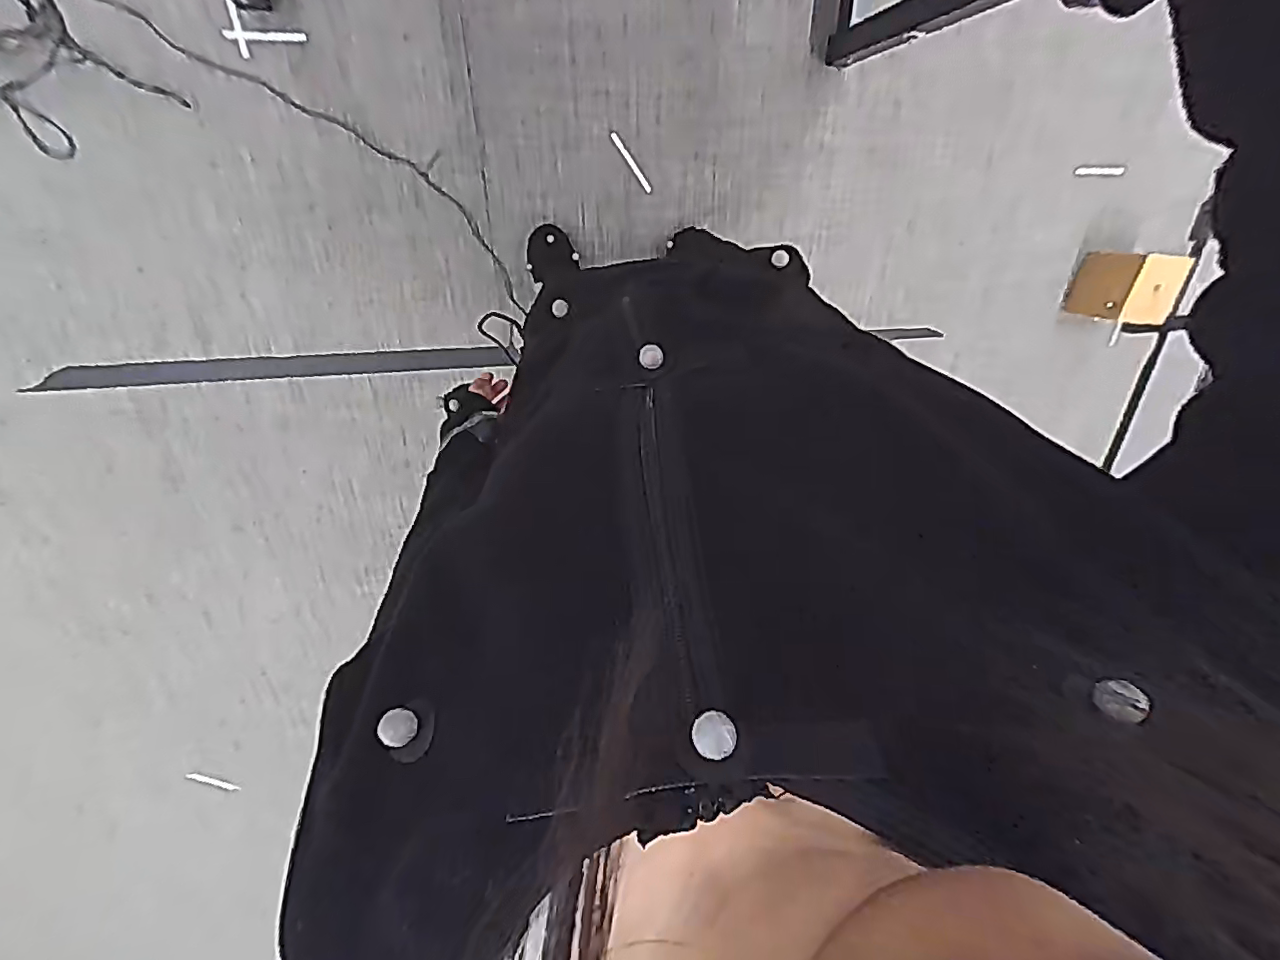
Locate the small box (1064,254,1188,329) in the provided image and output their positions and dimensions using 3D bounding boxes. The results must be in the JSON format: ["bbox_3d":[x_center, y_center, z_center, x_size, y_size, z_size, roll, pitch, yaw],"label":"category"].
[{"bbox_3d":[1.356,-0.534,1.525,0.168,0.176,0.179,-1,117,-14],"label":"small box"}]
